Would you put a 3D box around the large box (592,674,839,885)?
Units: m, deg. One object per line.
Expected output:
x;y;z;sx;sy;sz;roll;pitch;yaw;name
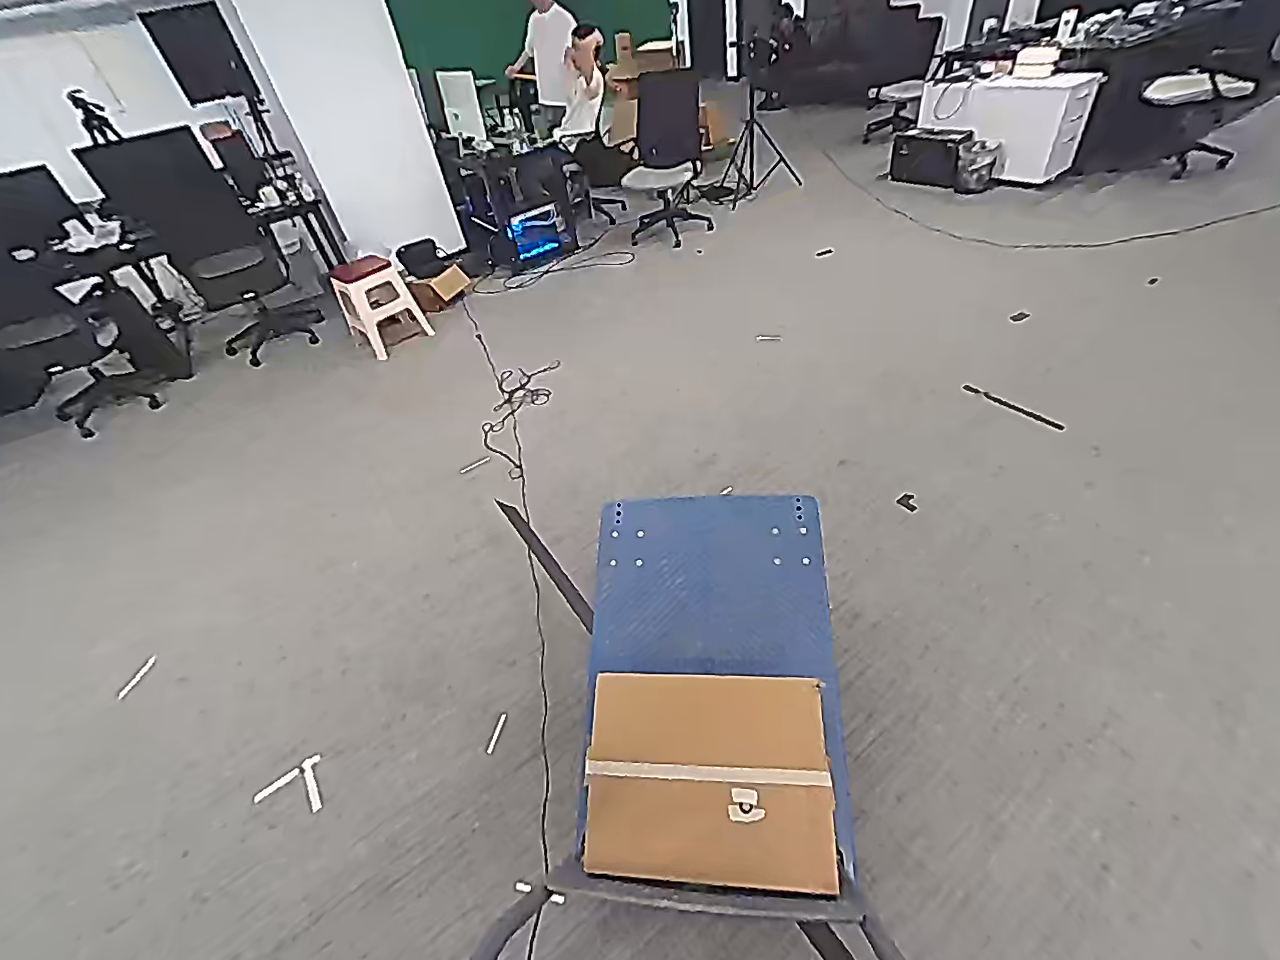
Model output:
0.139;0.568;1.063;0.408;0.320;0.320;-2;64;9;large box
